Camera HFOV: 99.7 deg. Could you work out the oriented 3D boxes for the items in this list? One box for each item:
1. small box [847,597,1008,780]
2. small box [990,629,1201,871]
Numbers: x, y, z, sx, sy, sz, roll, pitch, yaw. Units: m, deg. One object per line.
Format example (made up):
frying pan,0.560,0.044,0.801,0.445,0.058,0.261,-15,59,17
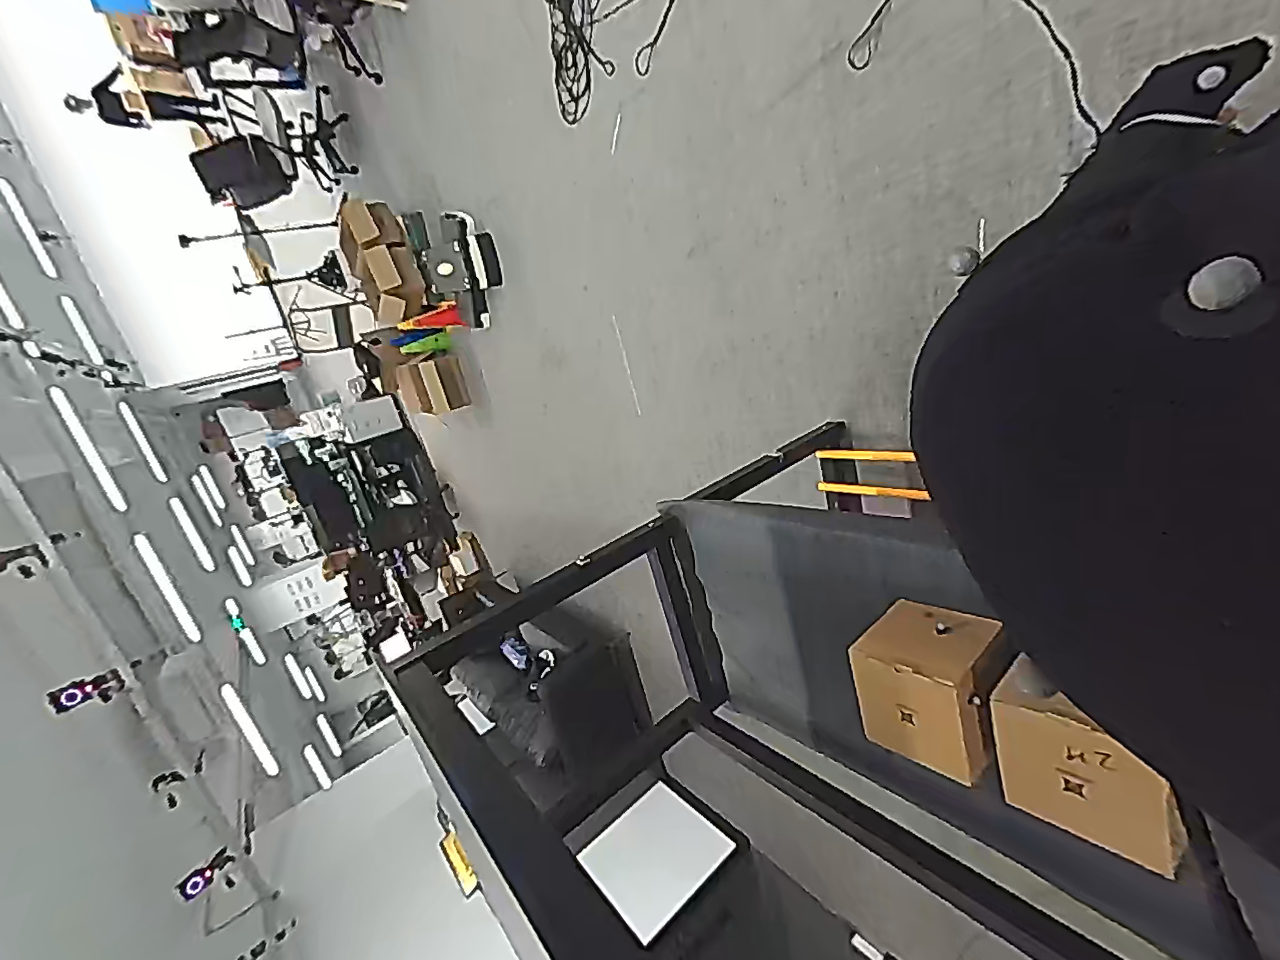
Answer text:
small box,0.459,0.314,0.851,0.168,0.176,0.179,2,114,54
small box,0.576,0.321,0.682,0.168,0.176,0.179,3,114,54
